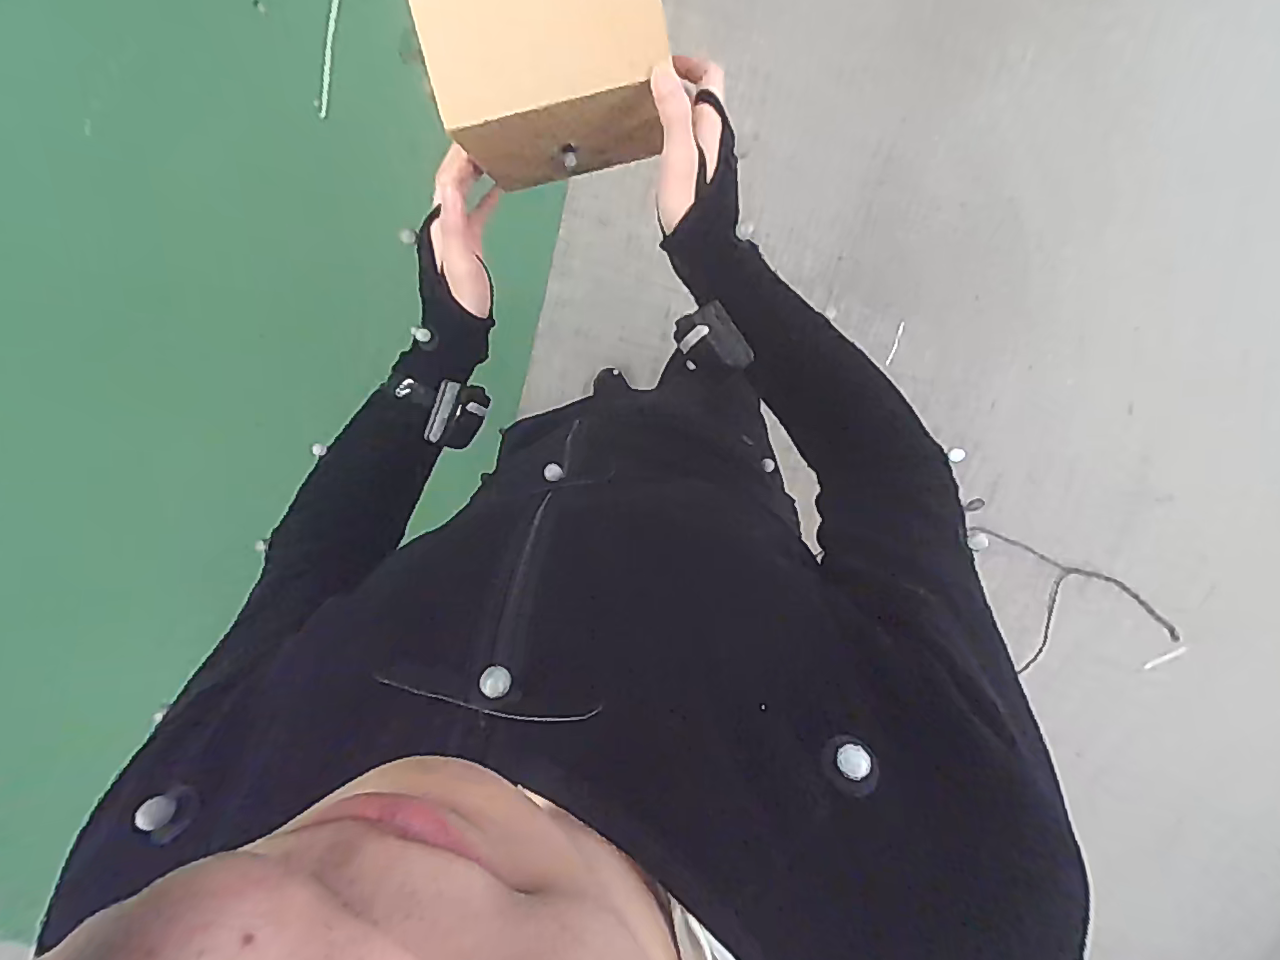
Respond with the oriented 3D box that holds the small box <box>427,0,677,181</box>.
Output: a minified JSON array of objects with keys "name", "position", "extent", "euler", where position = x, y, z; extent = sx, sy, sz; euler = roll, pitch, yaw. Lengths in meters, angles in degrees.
[{"name":"small box","position":[-0.065,-0.366,0.442],"extent":[0.168,0.176,0.179],"euler":[-11,104,3]}]
